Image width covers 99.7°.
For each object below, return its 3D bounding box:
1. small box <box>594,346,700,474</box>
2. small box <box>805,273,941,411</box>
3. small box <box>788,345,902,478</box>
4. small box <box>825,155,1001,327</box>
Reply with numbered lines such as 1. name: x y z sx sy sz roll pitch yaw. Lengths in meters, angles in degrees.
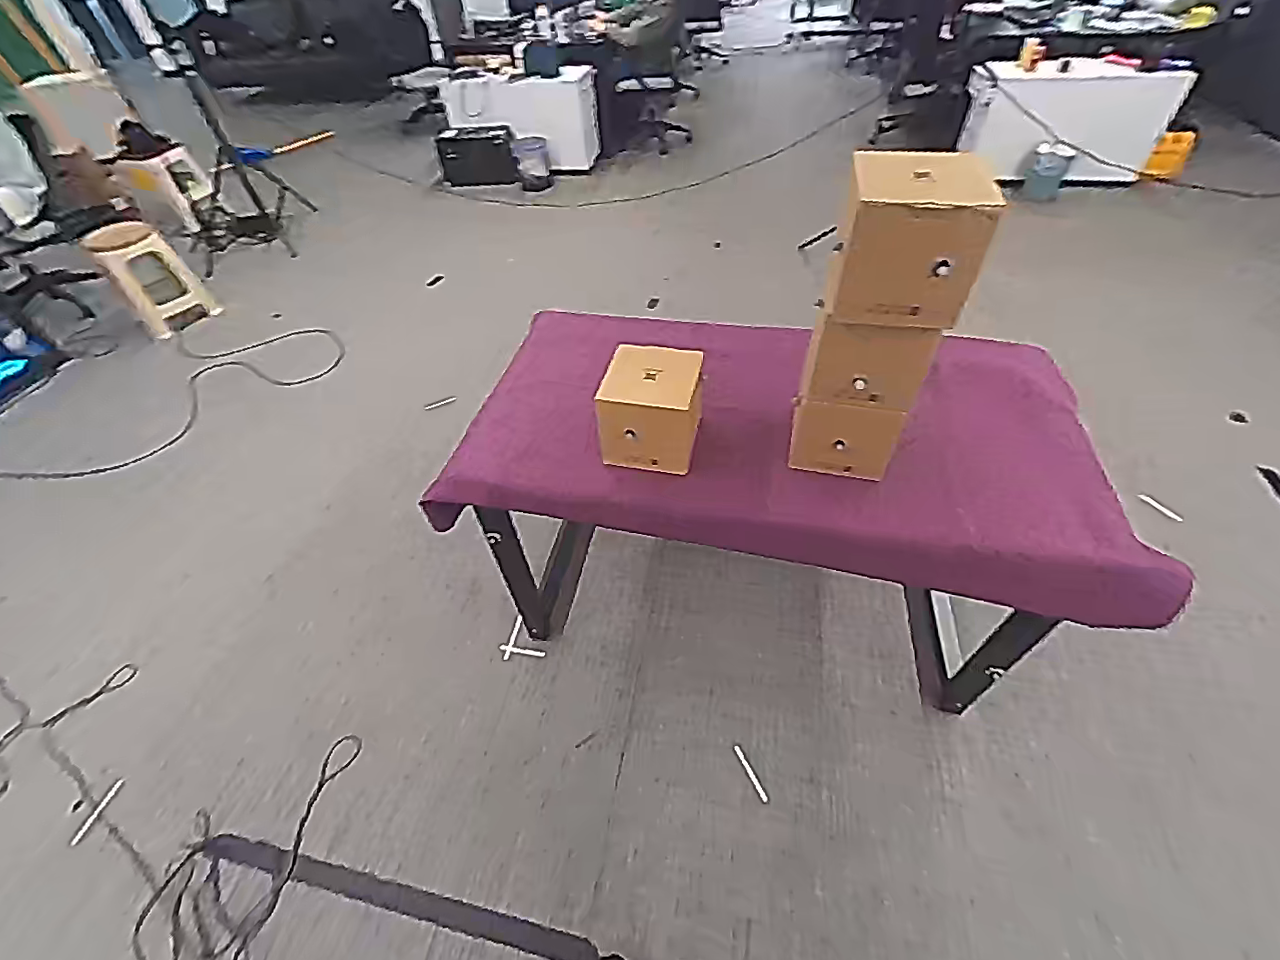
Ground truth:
1. small box: 0.020 -0.133 1.036 0.168 0.176 0.179 8 48 10
2. small box: 0.371 -0.239 0.887 0.168 0.176 0.179 9 50 12
3. small box: 0.375 -0.126 1.007 0.168 0.176 0.179 10 49 11
4. small box: 0.361 -0.331 0.752 0.168 0.176 0.179 7 48 9
